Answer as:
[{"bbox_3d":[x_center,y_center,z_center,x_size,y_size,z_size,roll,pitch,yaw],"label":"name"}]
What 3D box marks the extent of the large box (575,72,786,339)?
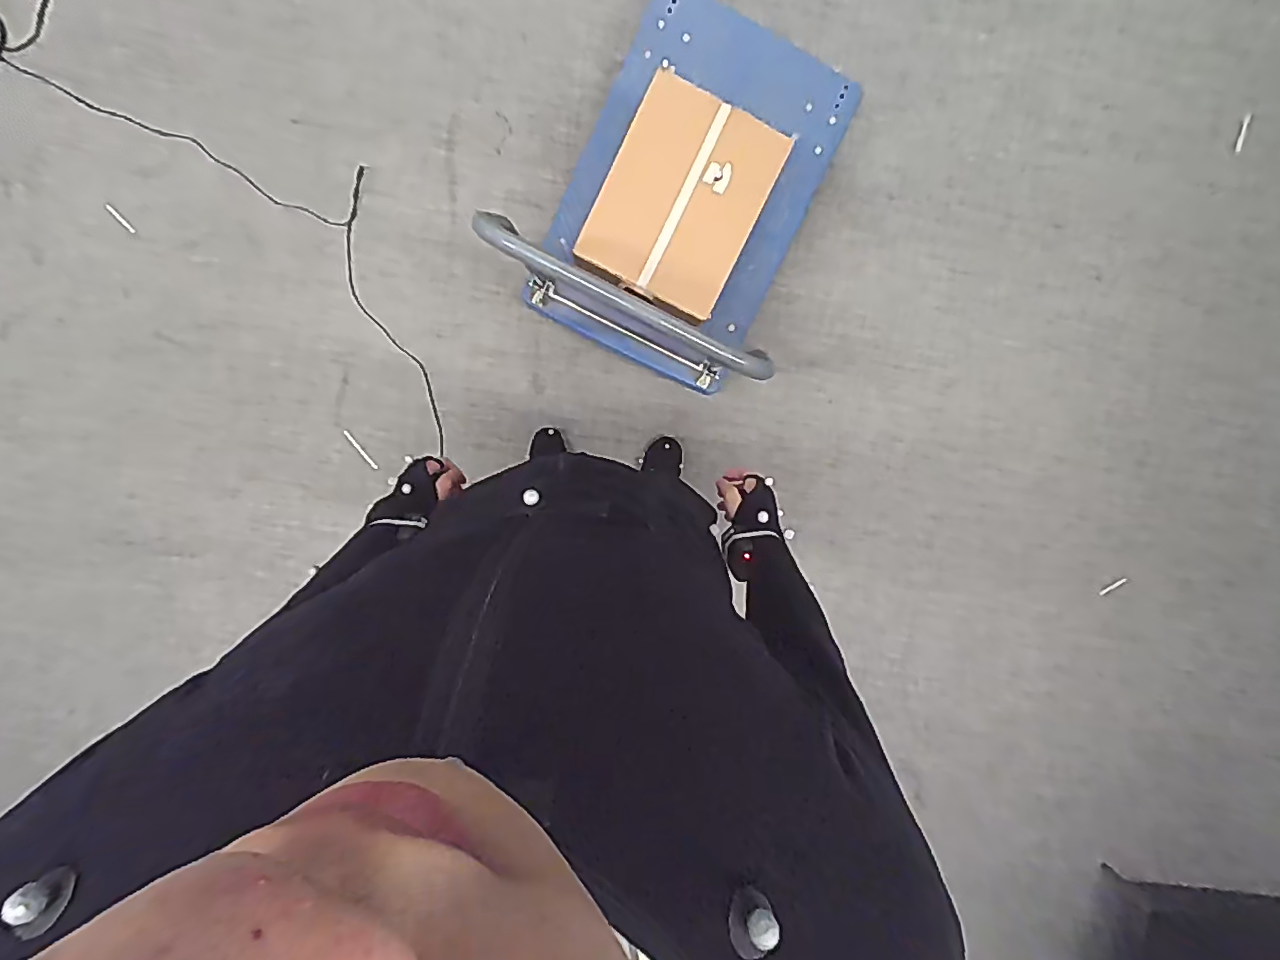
[{"bbox_3d":[0.077,-0.599,1.266,0.320,0.320,0.408,26,93,-6],"label":"large box"}]
